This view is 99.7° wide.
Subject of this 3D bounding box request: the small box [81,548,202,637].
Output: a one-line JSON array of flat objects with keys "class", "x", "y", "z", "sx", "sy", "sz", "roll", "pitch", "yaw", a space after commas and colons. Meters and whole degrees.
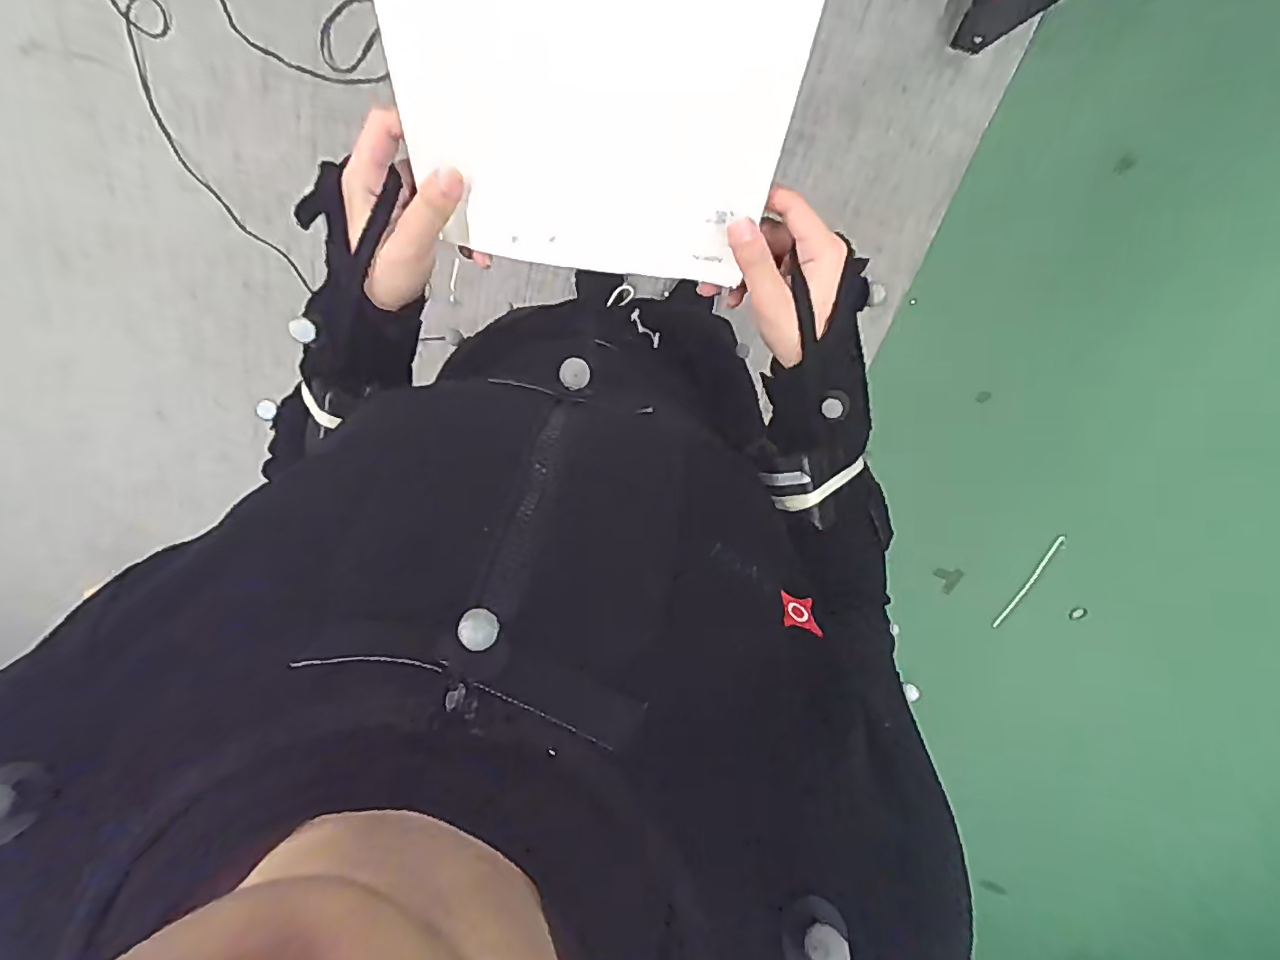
[{"class": "small box", "x": -1.495, "y": 0.336, "z": 1.634, "sx": 0.179, "sy": 0.176, "sz": 0.168, "roll": -24, "pitch": 112, "yaw": 14}]
